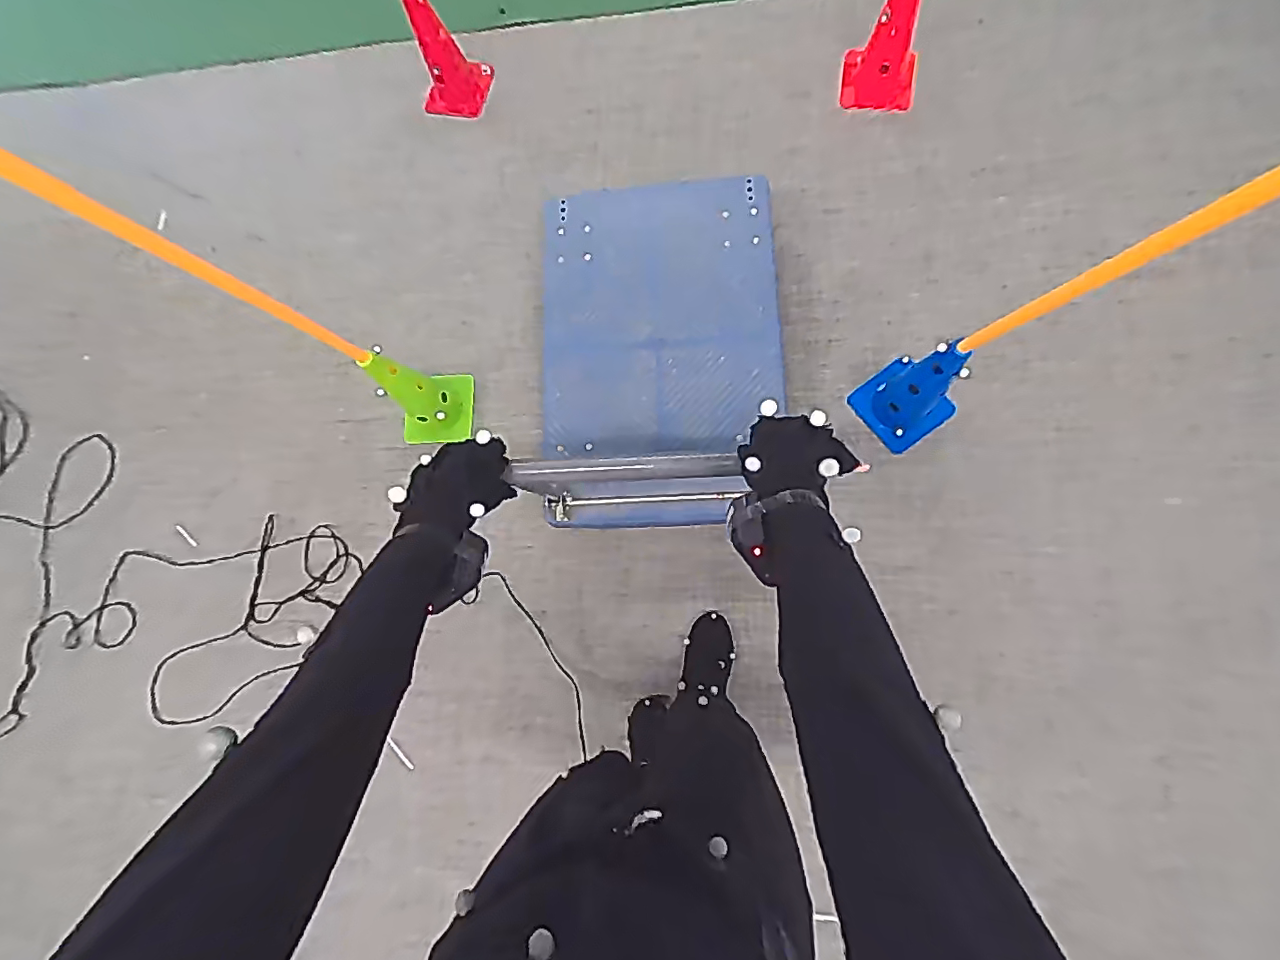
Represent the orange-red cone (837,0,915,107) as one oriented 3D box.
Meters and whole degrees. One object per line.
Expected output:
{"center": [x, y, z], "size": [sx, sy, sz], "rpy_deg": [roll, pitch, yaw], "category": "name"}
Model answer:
{"center": [0.653, -1.189, 1.385], "size": [0.198, 0.360, 0.199], "rpy_deg": [10, 82, 10], "category": "orange-red cone"}
